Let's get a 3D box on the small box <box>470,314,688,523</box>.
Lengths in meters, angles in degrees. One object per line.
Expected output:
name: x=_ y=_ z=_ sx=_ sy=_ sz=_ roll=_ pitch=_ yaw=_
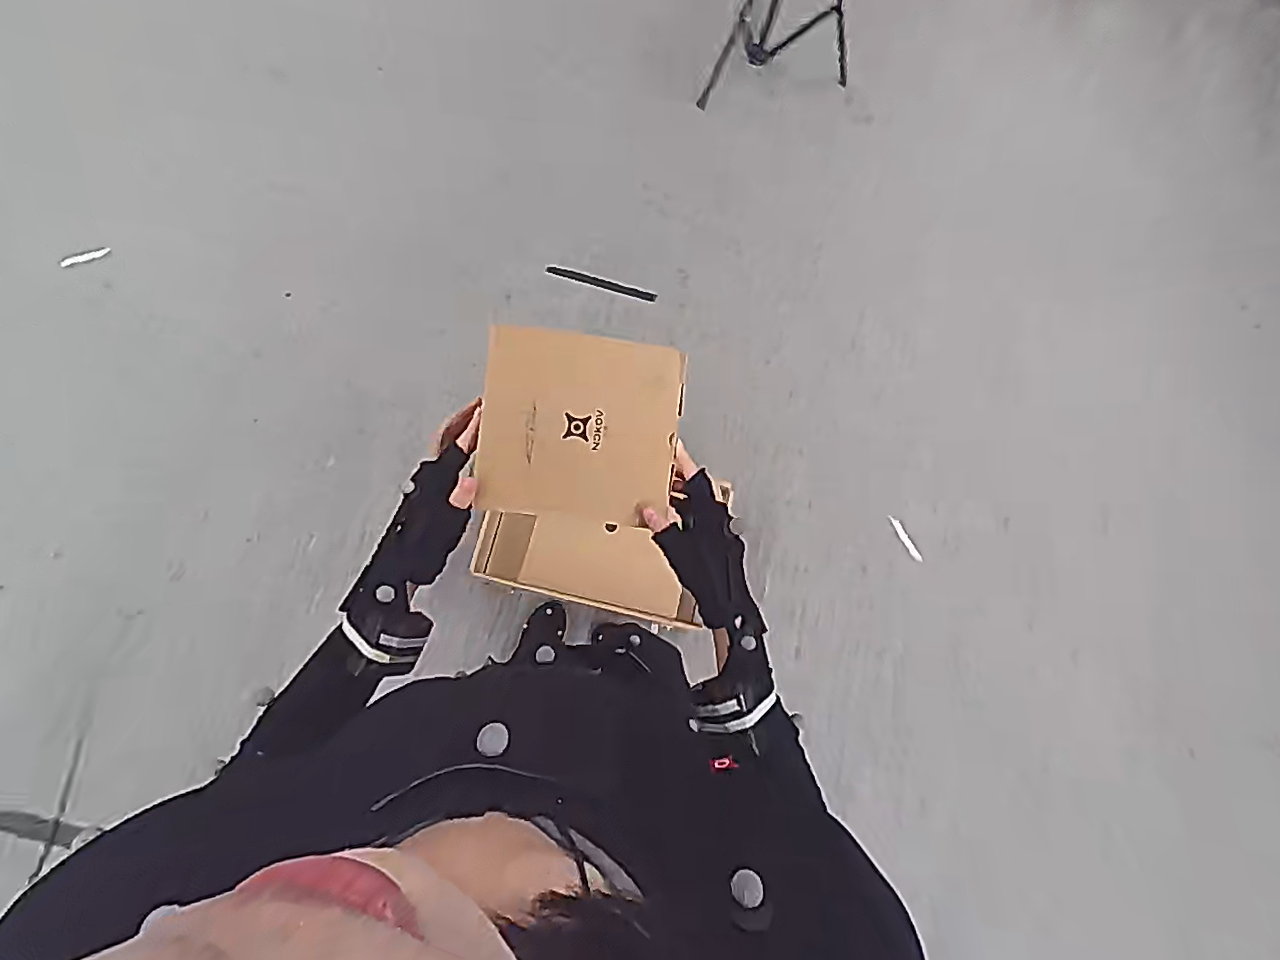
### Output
small box: x=-0.060 y=-0.053 z=0.546 sx=0.179 sy=0.176 sz=0.168 roll=5 pitch=90 yaw=-7
